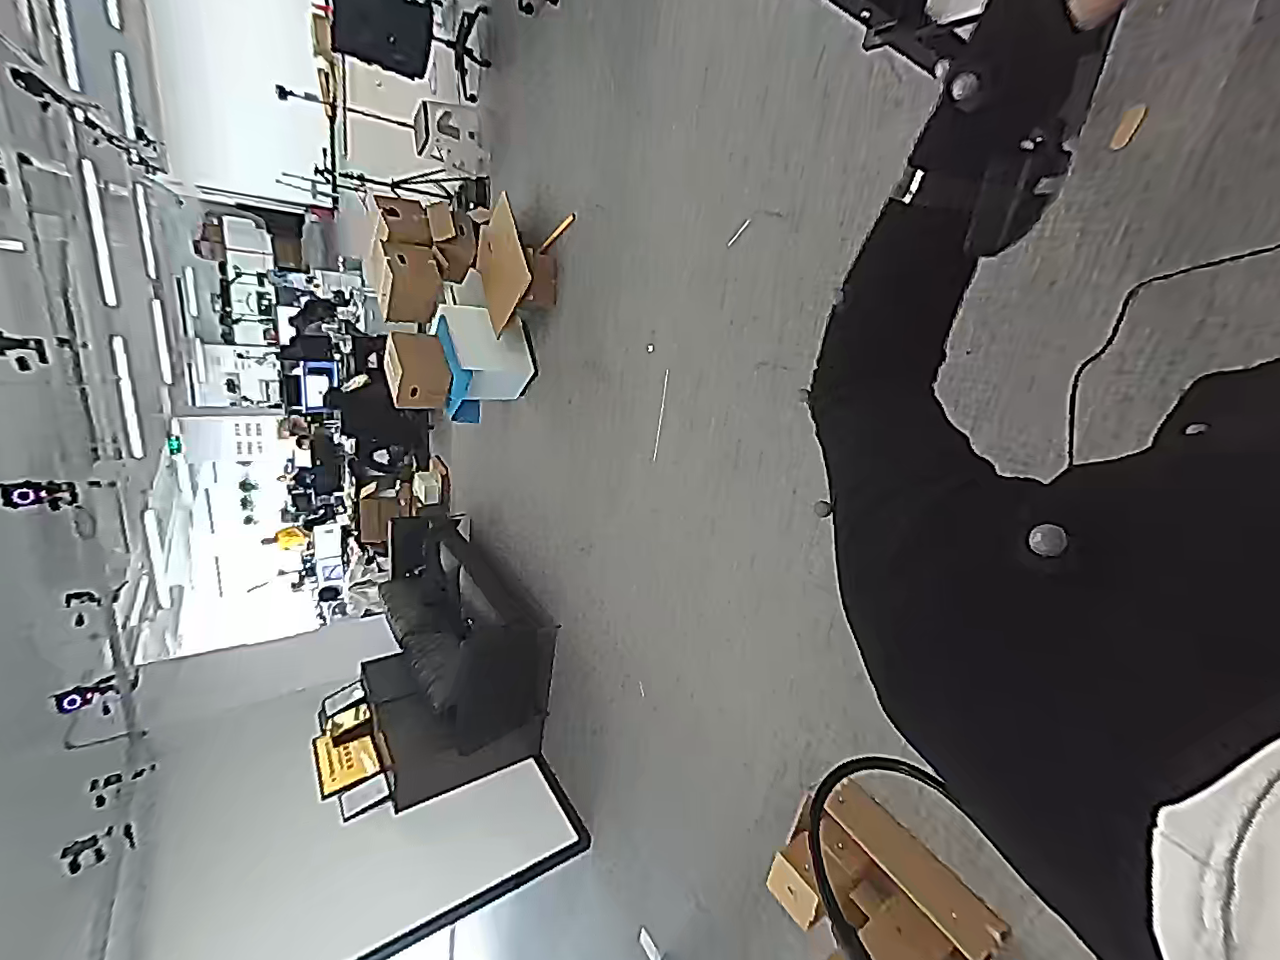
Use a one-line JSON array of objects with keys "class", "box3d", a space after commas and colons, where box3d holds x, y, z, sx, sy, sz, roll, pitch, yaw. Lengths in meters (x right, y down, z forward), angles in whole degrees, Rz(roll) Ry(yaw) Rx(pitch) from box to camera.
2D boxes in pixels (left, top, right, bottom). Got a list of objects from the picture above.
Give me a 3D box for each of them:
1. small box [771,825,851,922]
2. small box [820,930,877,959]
[{"class": "small box", "box3d": [0.577, 1.313, 1.819, 0.179, 0.176, 0.168, 33, 120, 48]}, {"class": "small box", "box3d": [0.596, 1.434, 1.517, 0.179, 0.176, 0.168, 37, 125, 48]}]
